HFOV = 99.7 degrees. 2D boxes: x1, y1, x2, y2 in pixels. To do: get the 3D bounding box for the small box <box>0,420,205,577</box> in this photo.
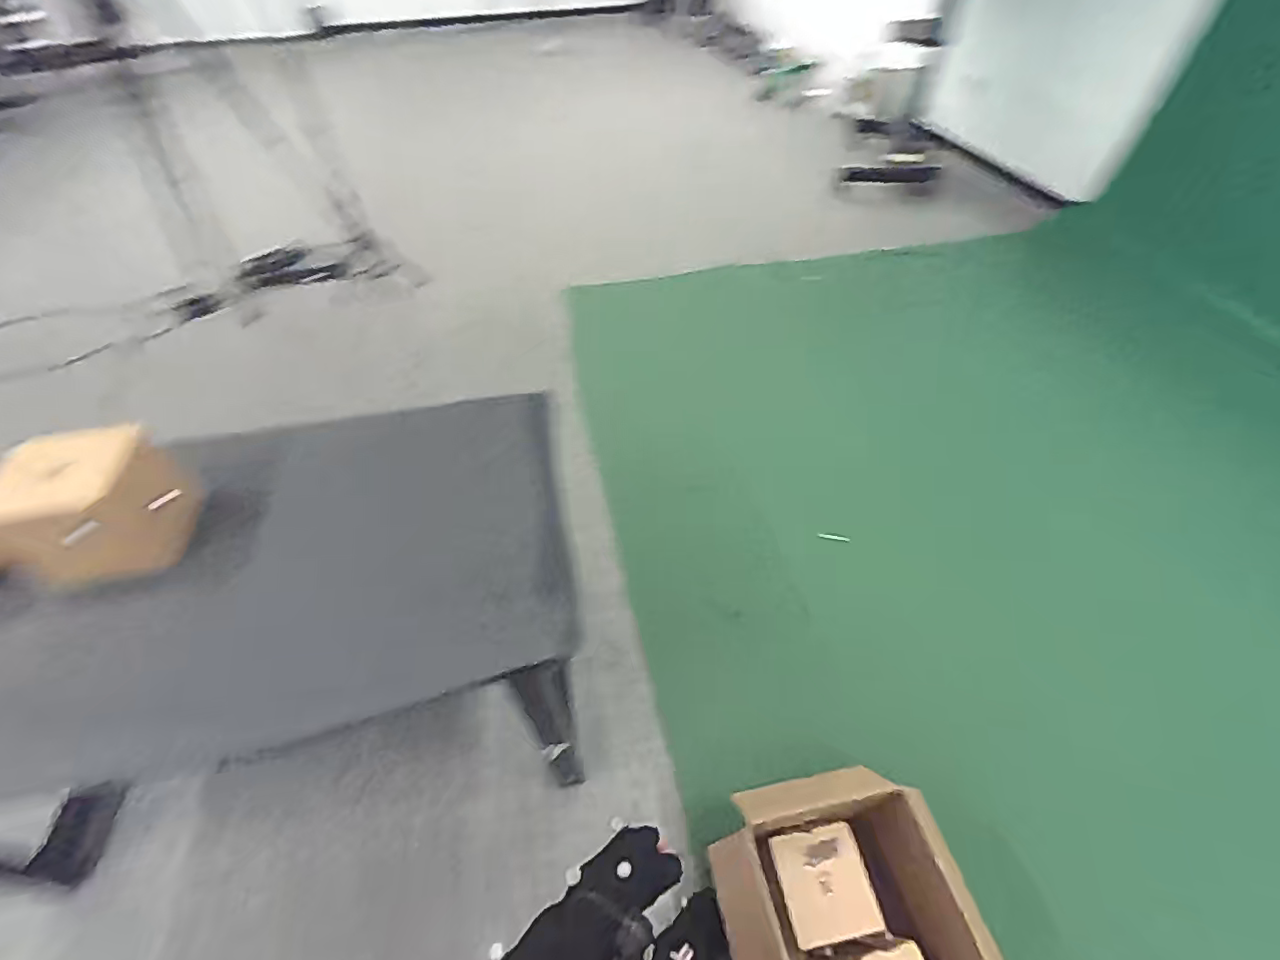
[{"bbox_3d":[-0.846,0.032,0.855,0.179,0.176,0.168,-10,49,-7],"label":"small box"}]
